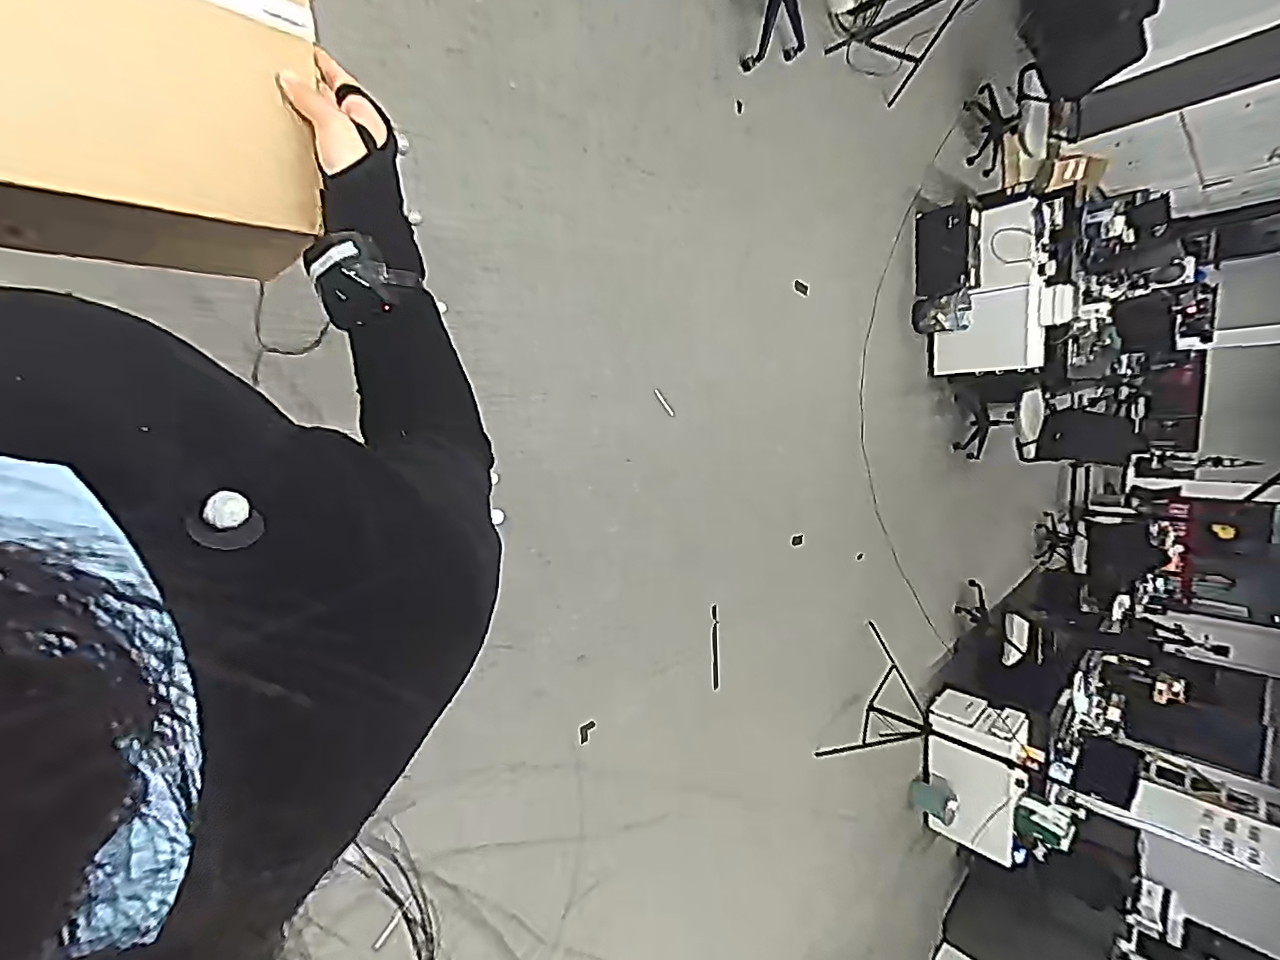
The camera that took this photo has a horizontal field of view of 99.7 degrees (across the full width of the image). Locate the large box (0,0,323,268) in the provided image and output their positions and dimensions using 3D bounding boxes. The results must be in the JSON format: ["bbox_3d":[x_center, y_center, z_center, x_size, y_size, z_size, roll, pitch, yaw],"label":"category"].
[{"bbox_3d":[-0.523,-0.369,0.428,0.408,0.320,0.320,-8,103,-41],"label":"large box"}]
